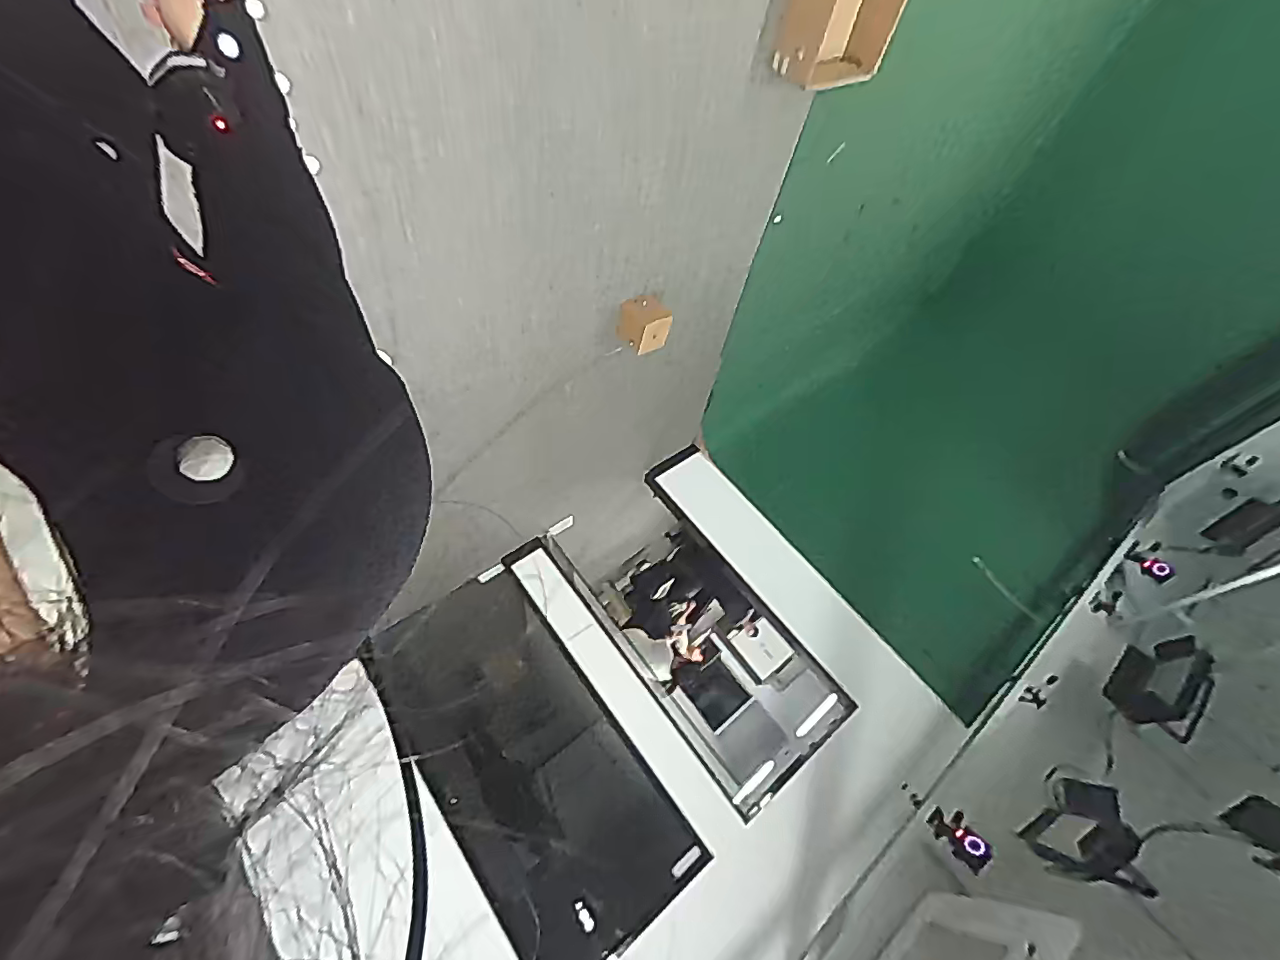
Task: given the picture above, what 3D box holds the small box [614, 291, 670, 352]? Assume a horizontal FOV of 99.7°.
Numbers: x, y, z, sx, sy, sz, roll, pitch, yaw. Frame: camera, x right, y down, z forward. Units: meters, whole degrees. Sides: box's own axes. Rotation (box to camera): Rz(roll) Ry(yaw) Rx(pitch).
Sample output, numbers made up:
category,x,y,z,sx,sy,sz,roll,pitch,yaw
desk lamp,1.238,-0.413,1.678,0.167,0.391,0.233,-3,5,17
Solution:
category,x,y,z,sx,sy,sz,roll,pitch,yaw
small box,0.004,-0.712,2.421,0.168,0.176,0.179,-29,156,-31
